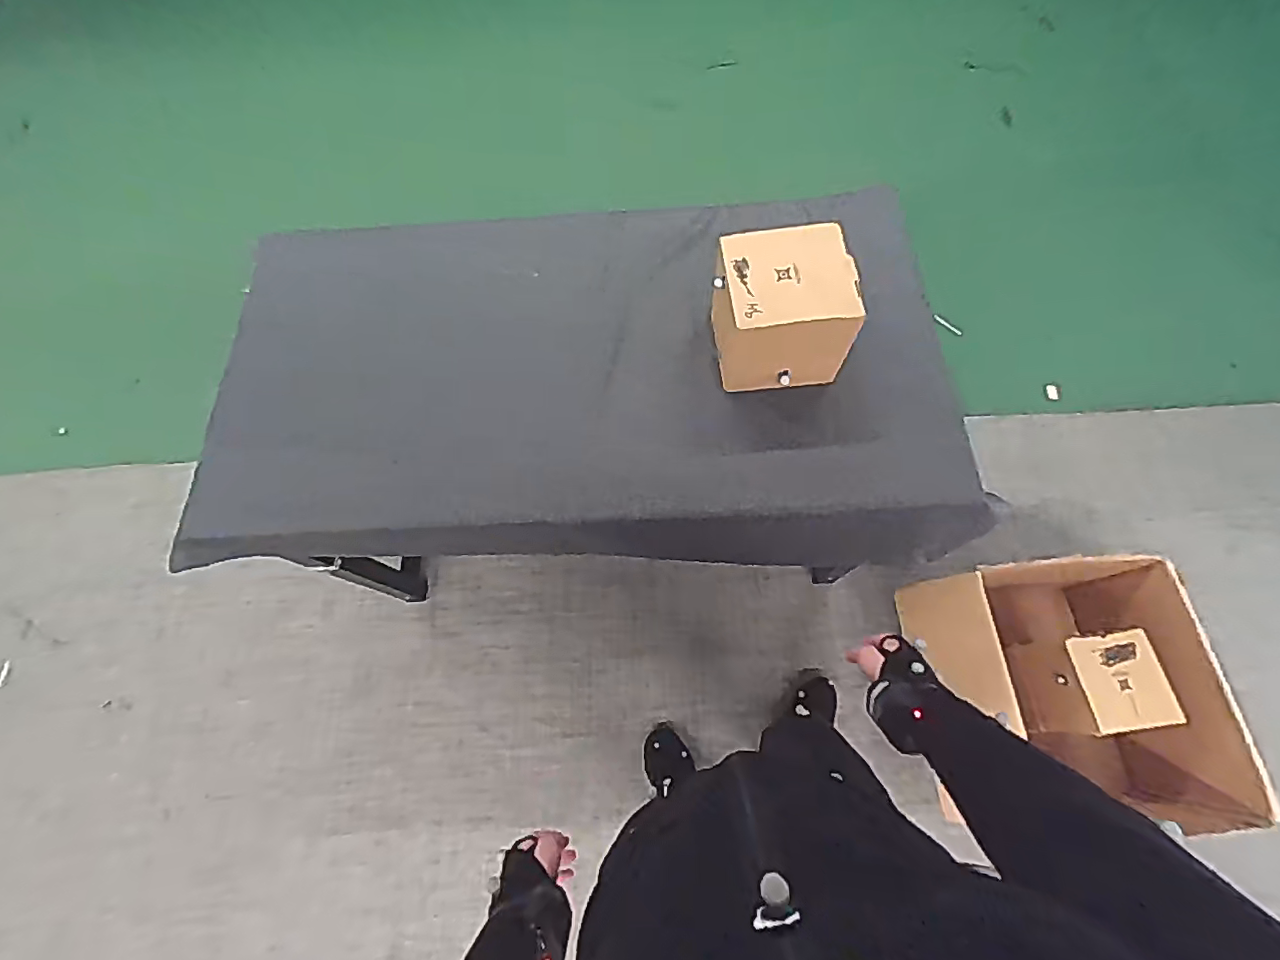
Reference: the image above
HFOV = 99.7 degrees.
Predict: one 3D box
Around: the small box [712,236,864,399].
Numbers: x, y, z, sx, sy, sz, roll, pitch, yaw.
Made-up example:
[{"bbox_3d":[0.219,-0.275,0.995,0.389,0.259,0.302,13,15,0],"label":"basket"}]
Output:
[{"bbox_3d":[0.216,-0.244,0.840,0.179,0.176,0.168,-8,69,0],"label":"small box"}]
